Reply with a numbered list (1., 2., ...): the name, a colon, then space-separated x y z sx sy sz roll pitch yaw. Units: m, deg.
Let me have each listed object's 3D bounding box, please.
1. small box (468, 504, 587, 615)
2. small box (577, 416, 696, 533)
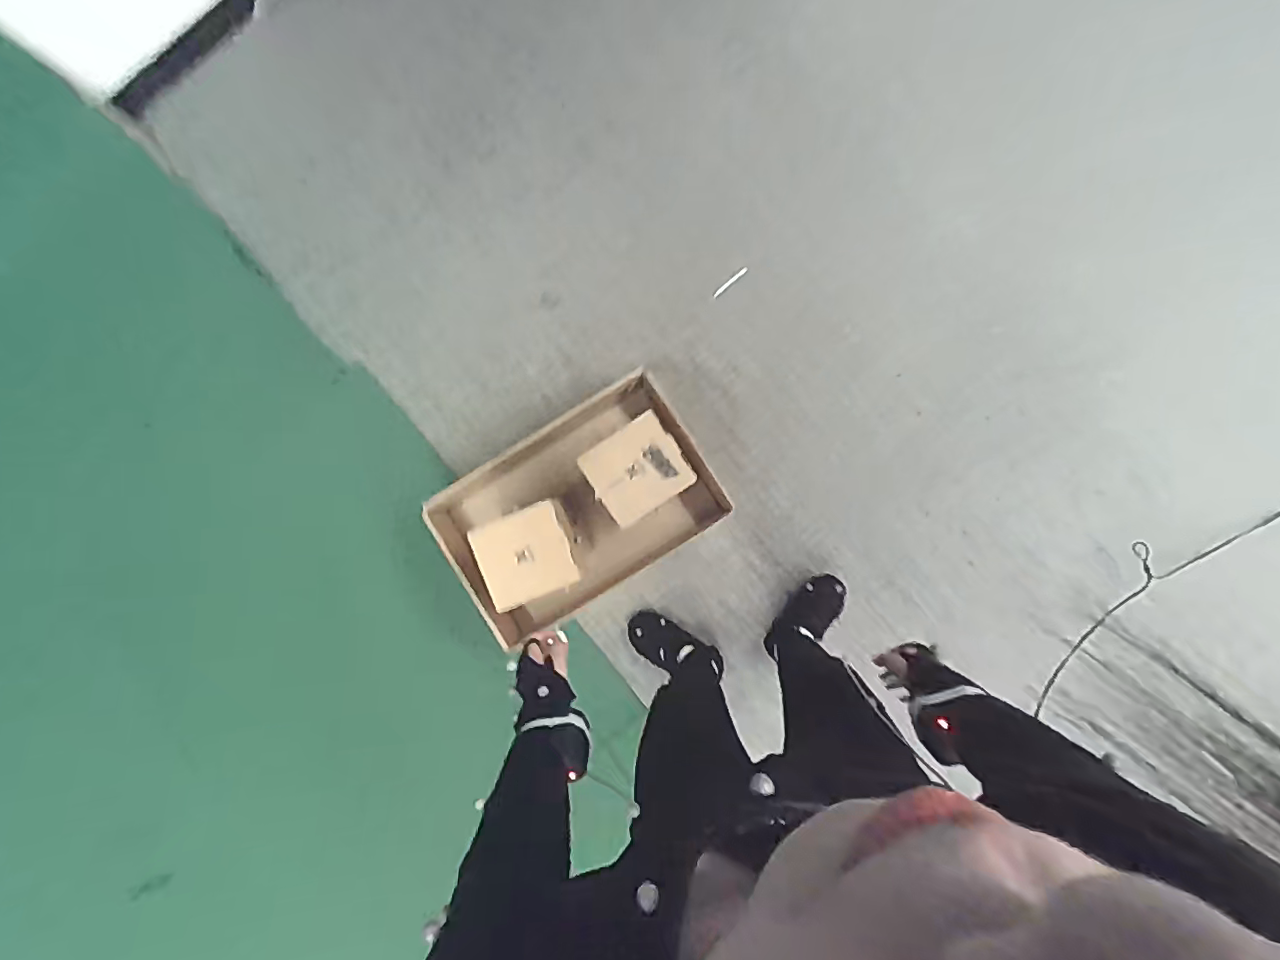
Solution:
1. small box: -0.222 0.158 1.110 0.179 0.176 0.168 -23 87 -2
2. small box: -0.008 -0.009 1.112 0.179 0.176 0.168 -34 88 0
